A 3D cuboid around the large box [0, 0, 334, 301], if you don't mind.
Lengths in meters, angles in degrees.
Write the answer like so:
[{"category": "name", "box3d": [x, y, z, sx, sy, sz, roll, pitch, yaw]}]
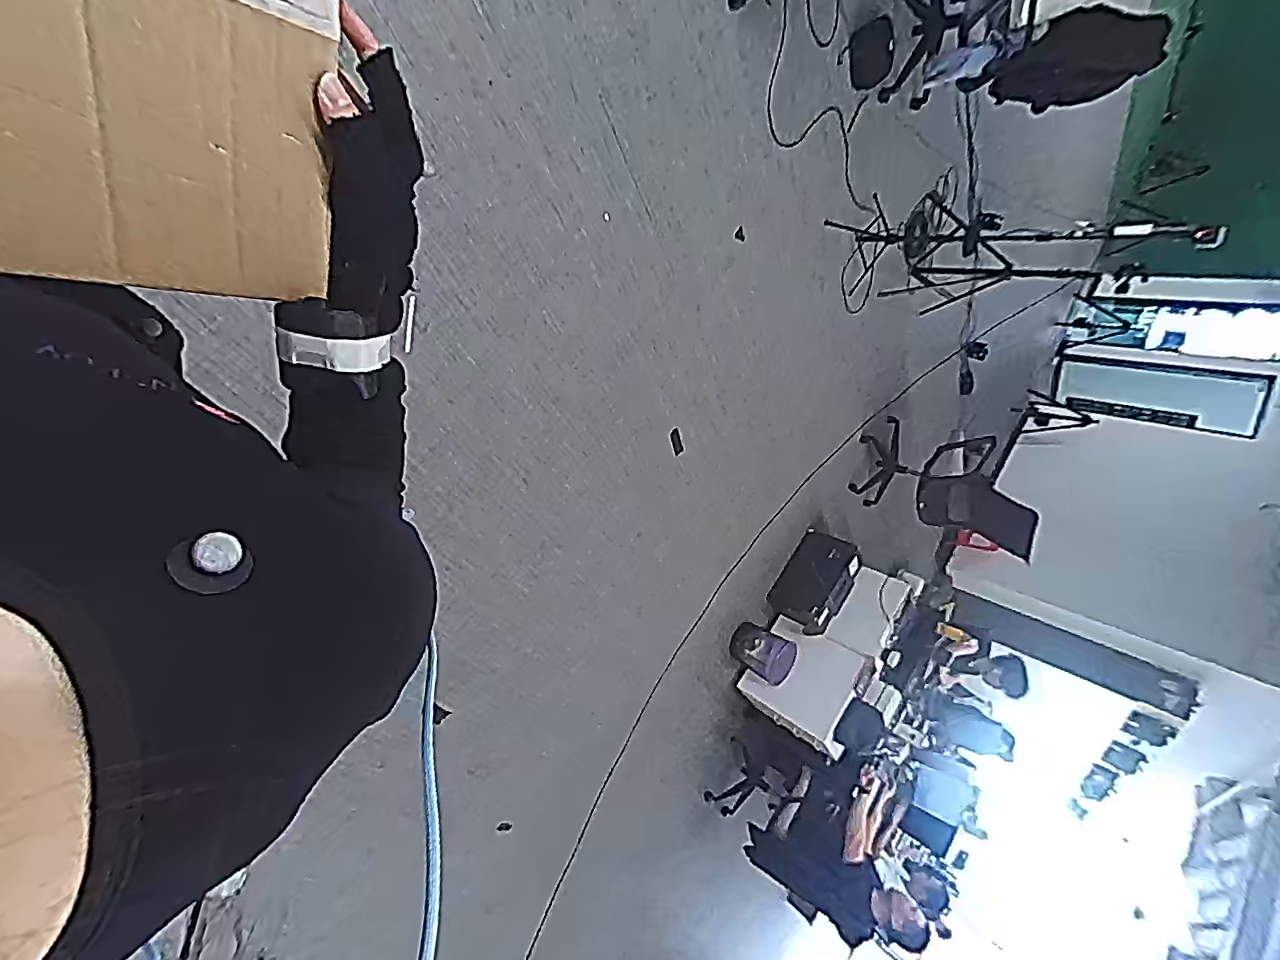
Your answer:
[{"category": "large box", "box3d": [-0.411, -0.306, 0.258, 0.408, 0.320, 0.320, -9, 130, -43]}]
